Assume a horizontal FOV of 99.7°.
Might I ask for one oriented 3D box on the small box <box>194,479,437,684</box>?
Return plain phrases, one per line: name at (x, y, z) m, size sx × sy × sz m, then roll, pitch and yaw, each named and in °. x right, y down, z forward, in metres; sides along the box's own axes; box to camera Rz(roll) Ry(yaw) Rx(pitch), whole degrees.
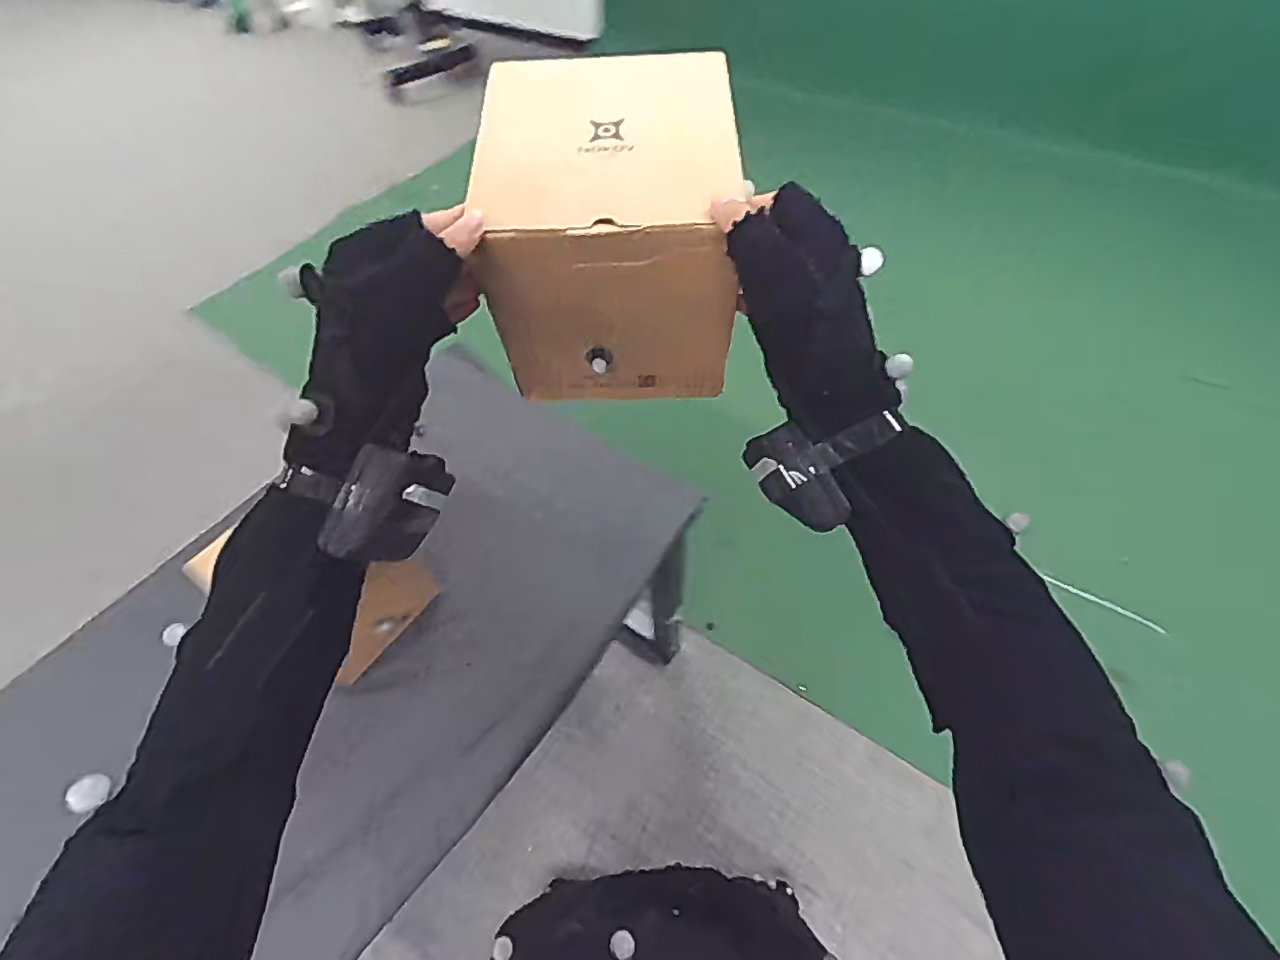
small box at (-0.403, 0.136, 0.701) m, size 0.179 × 0.176 × 0.168 m, roll 29°, pitch 63°, yaw 21°
